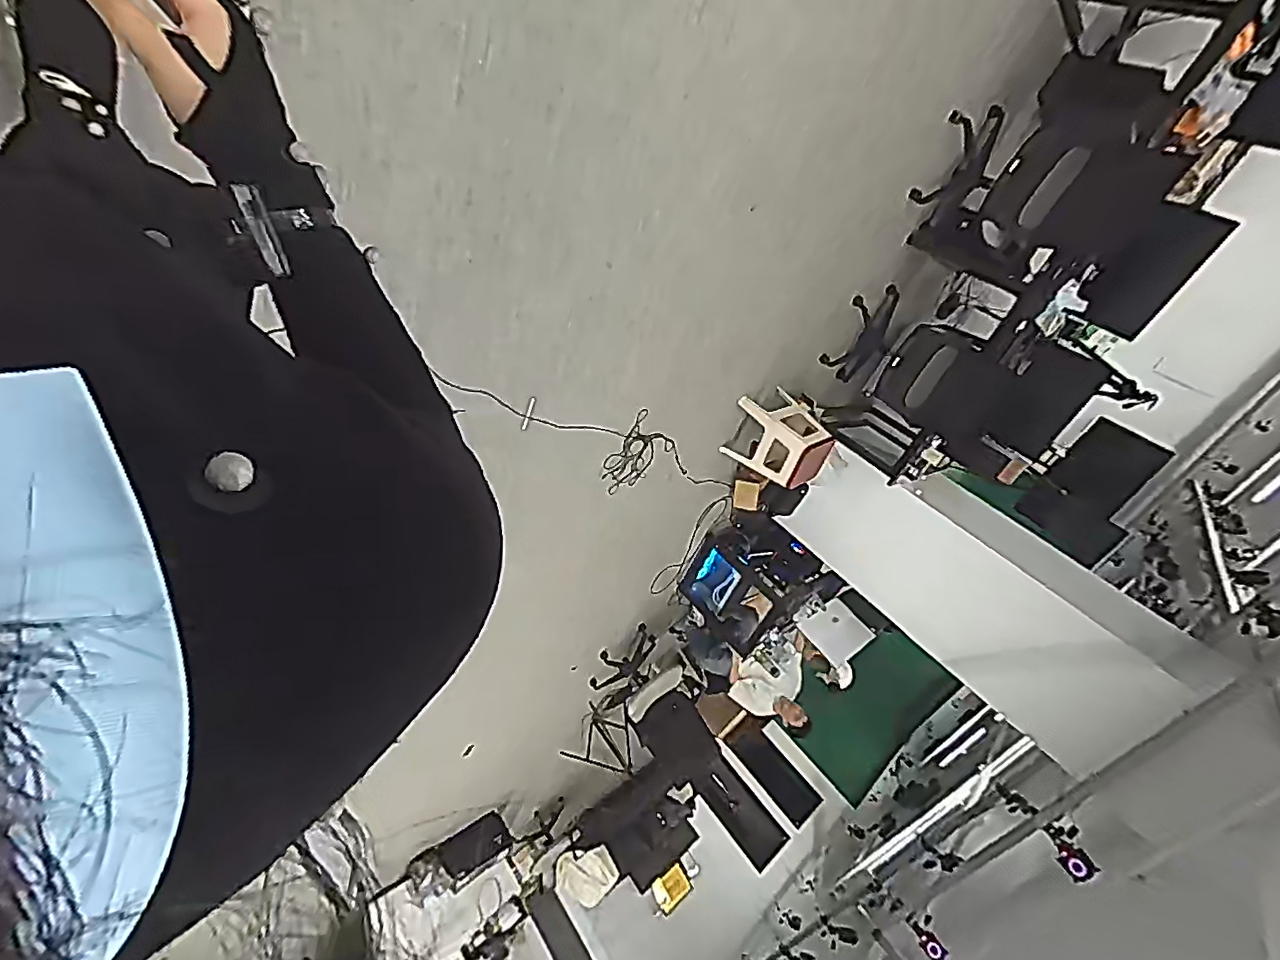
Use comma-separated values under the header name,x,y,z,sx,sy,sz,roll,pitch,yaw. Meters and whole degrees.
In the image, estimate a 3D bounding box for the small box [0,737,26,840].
name,x,y,z,sx,sy,sz,roll,pitch,yaw
small box,-1.565,0.743,1.260,0.168,0.176,0.179,-8,133,-48
